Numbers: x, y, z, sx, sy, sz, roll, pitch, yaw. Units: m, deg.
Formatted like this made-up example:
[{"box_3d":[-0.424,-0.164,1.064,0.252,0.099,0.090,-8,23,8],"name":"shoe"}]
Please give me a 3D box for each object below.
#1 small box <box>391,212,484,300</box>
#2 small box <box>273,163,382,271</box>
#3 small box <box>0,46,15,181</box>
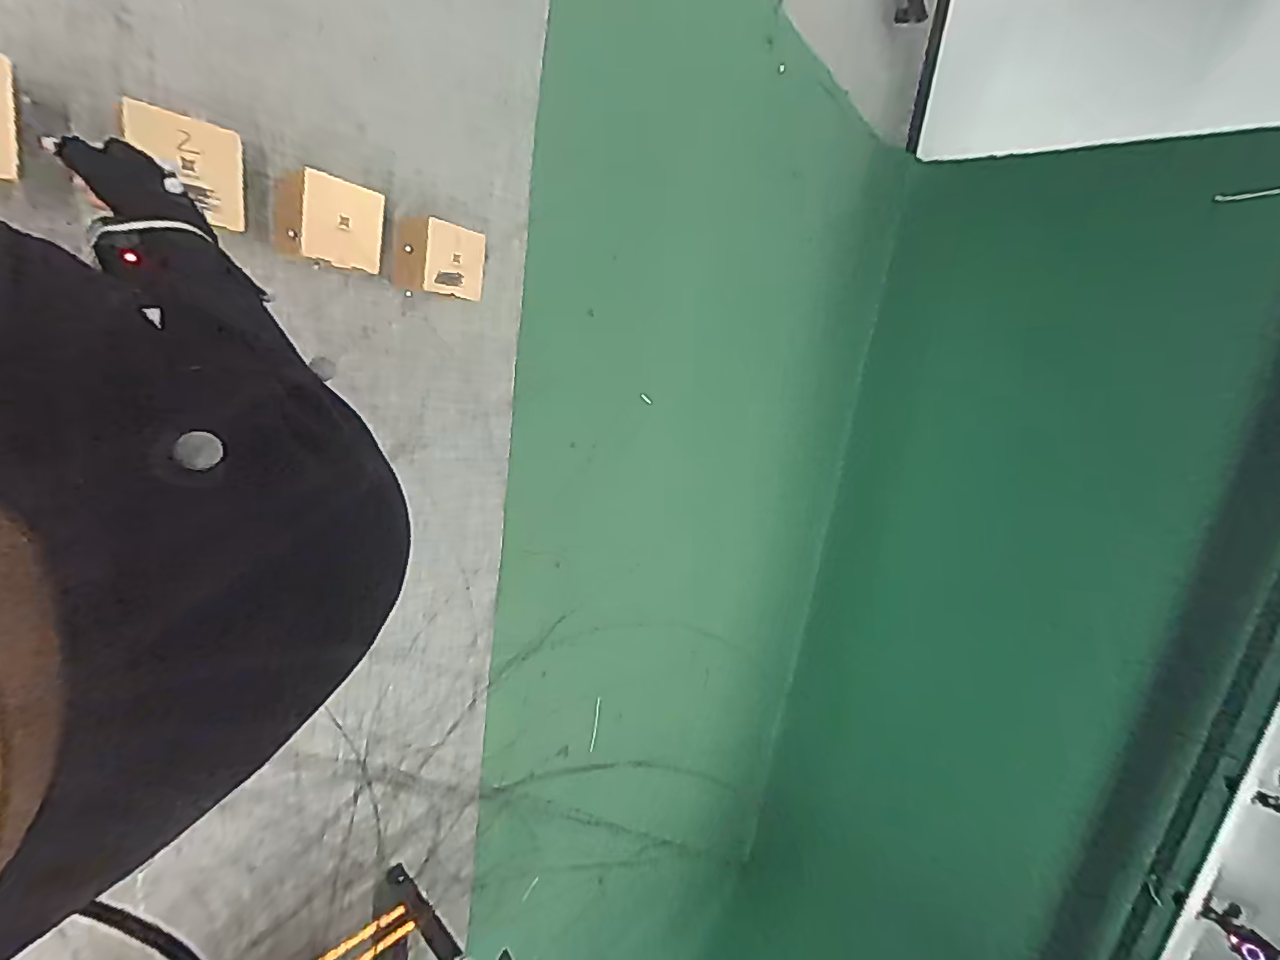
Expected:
[{"box_3d":[-0.539,-0.587,1.432,0.168,0.176,0.179,-4,108,-50],"name":"small box"},{"box_3d":[-0.709,-0.586,1.222,0.168,0.176,0.179,-4,108,-51],"name":"small box"},{"box_3d":[-1.055,-0.567,0.797,0.168,0.176,0.179,-4,108,-50],"name":"small box"}]
